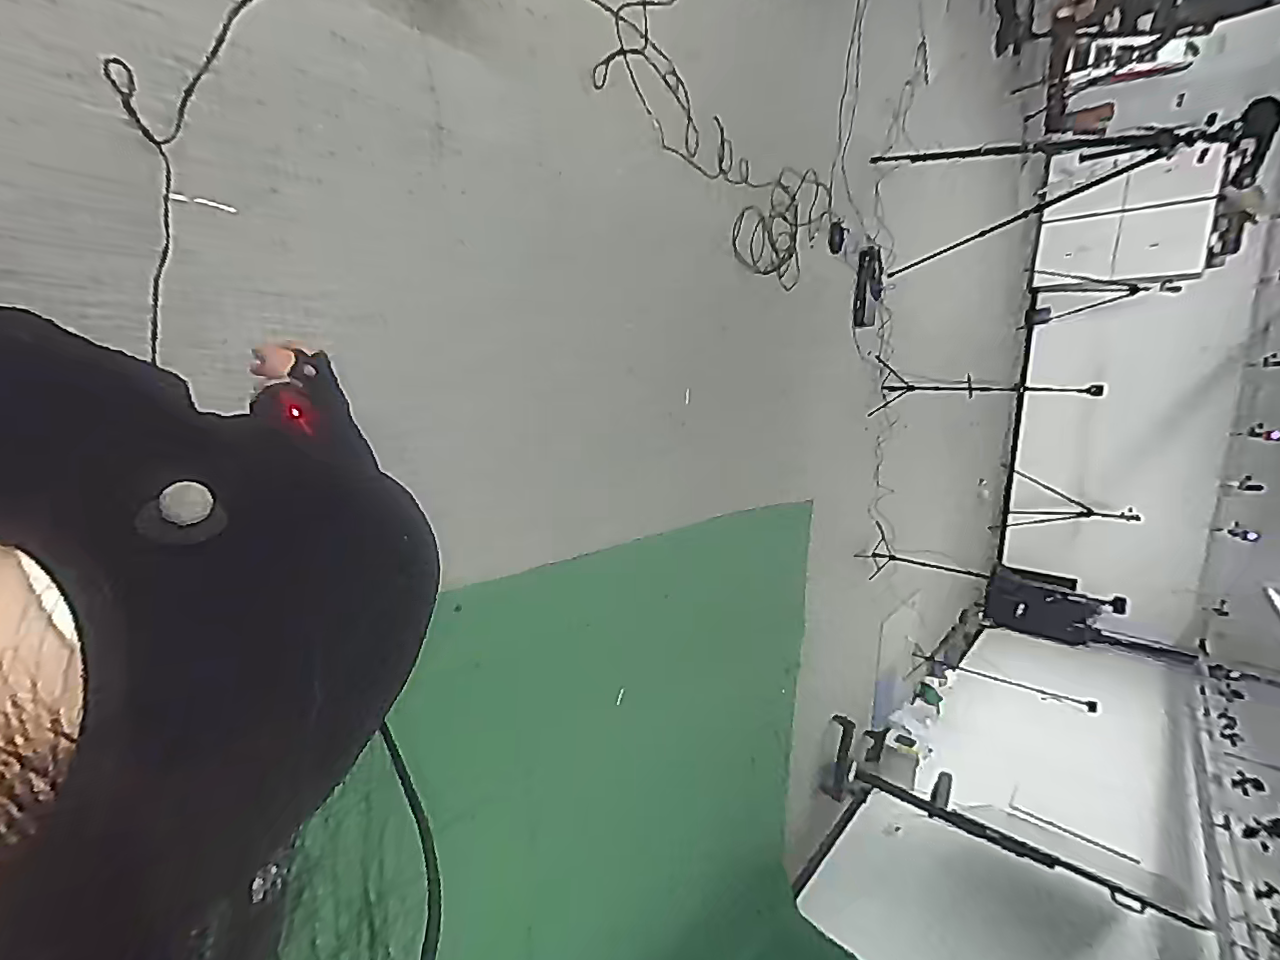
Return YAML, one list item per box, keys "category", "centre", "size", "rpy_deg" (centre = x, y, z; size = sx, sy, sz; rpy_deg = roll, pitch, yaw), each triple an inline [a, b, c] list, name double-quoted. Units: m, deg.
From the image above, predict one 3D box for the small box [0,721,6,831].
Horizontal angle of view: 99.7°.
- category: "small box"
  centre: [-1.030, 0.460, 0.763]
  size: [0.168, 0.176, 0.179]
  rpy_deg: [-3, 97, -48]
